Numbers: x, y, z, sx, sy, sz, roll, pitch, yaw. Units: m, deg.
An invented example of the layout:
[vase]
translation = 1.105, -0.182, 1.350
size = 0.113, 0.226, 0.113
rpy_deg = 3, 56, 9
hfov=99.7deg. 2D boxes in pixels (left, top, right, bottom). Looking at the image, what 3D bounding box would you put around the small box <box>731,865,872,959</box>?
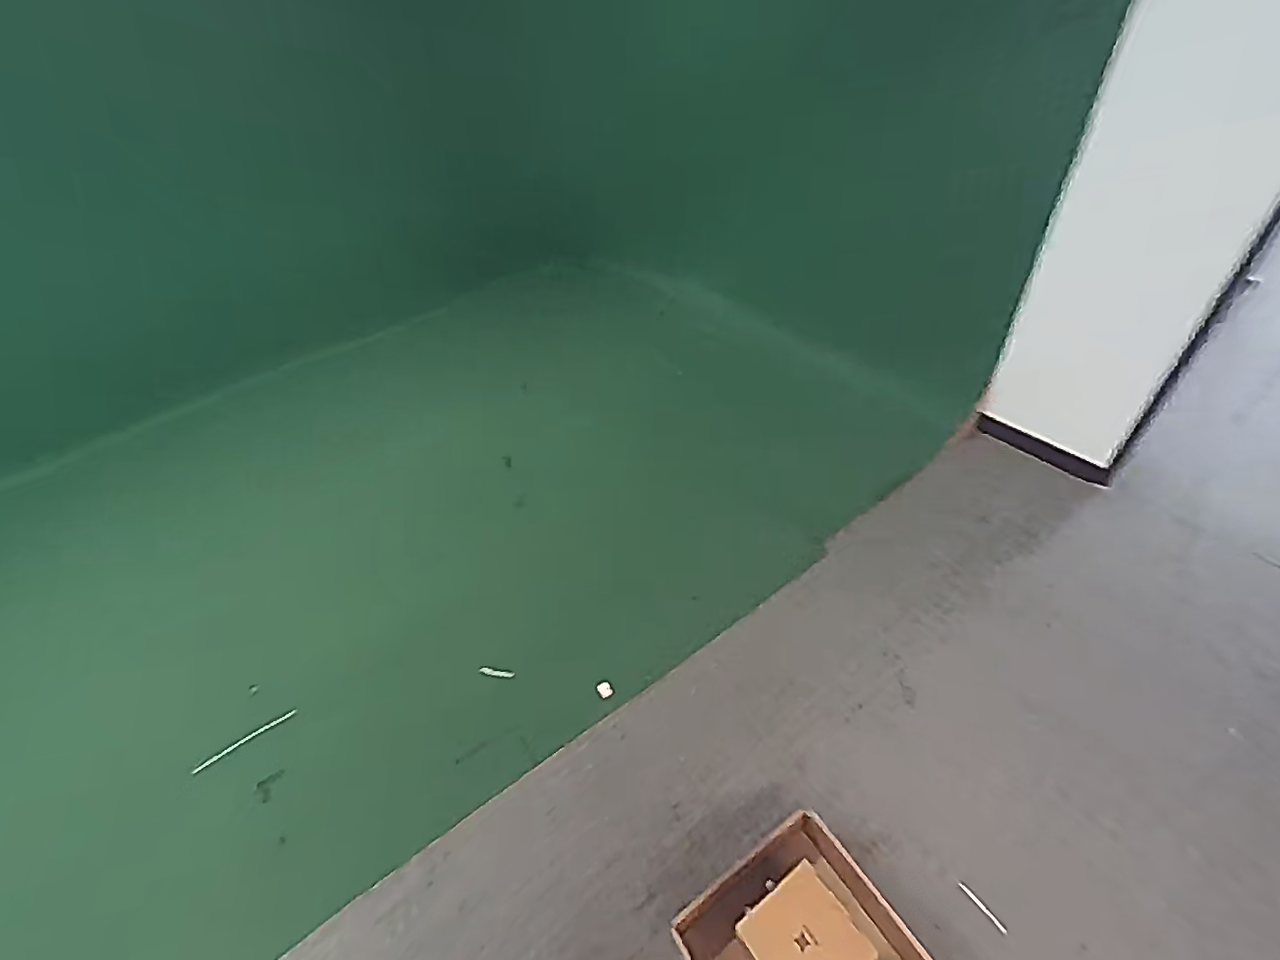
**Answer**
[small box]
translation = 0.286, 0.851, 0.977
size = 0.179, 0.176, 0.168
rpy_deg = -30, 48, -18
